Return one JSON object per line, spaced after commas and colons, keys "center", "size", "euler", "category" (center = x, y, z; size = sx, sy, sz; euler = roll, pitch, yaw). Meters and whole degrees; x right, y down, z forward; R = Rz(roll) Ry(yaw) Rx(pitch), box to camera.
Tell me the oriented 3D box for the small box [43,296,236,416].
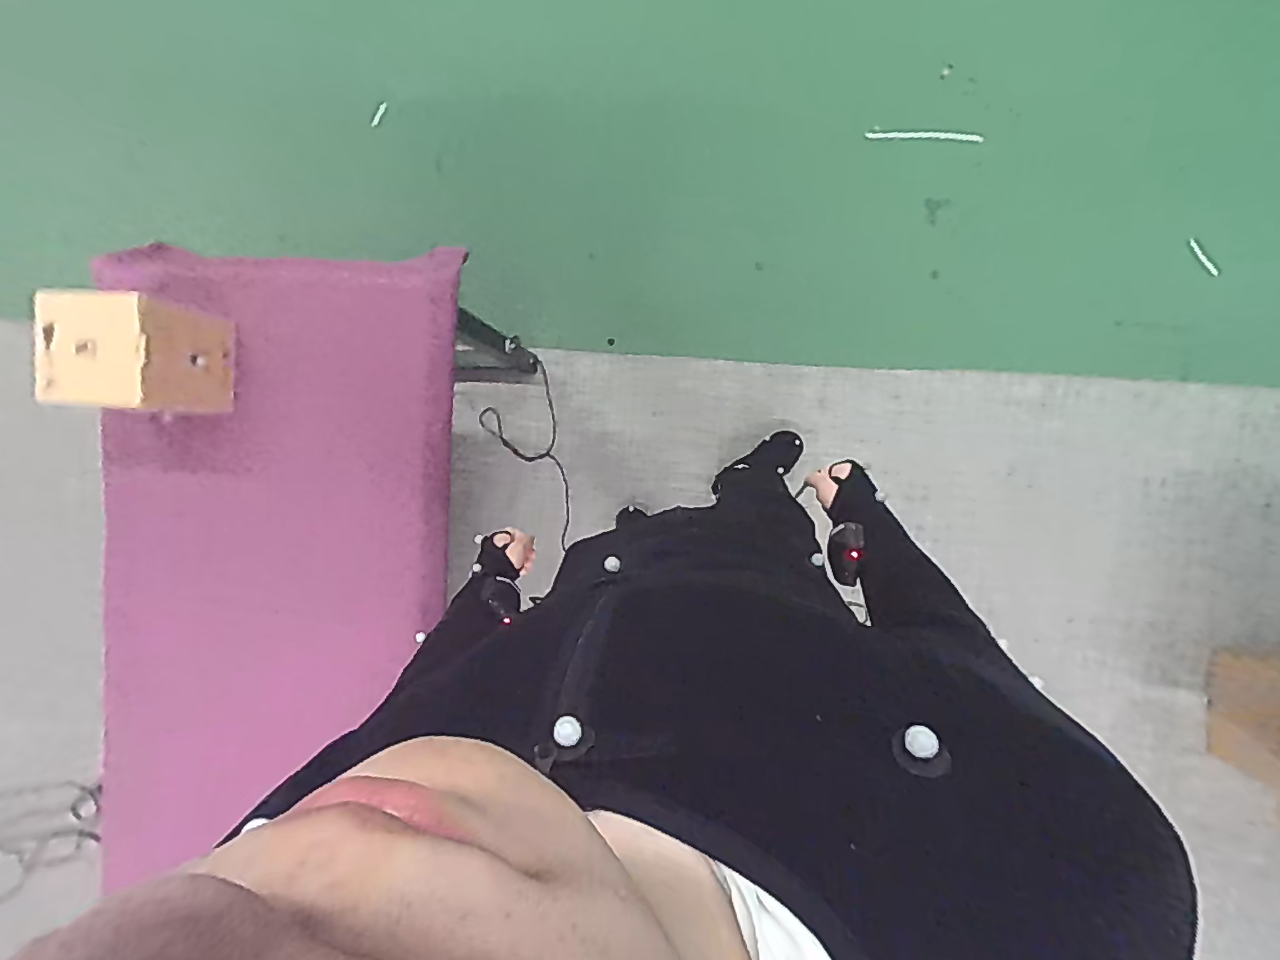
{"center": [-0.806, -0.195, 0.888], "size": [0.179, 0.176, 0.168], "euler": [3, 93, 5], "category": "small box"}
